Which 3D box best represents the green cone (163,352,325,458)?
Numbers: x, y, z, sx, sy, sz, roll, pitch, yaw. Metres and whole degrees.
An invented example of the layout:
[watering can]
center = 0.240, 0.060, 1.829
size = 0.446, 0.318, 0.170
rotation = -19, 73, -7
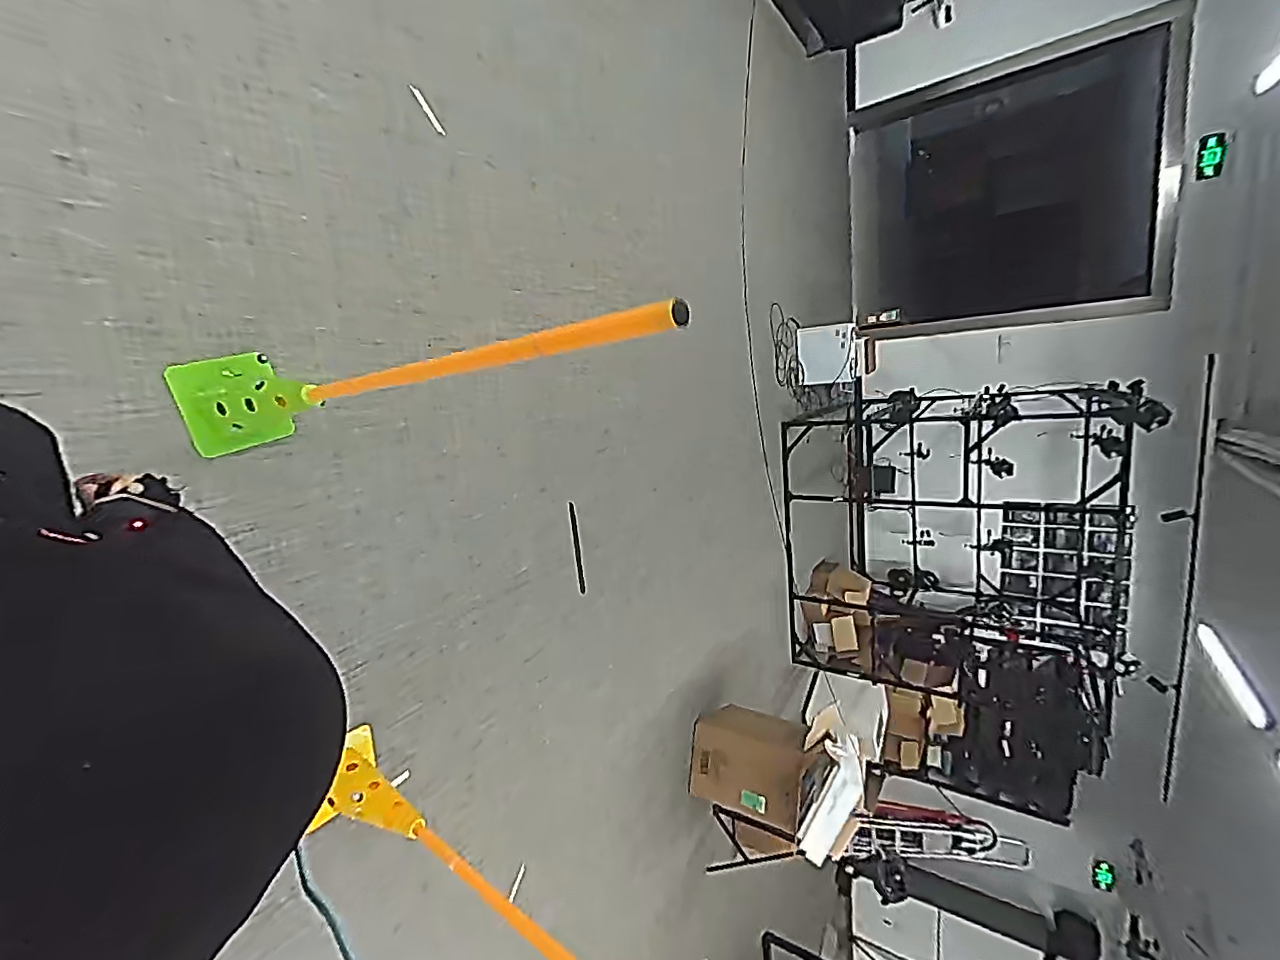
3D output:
[green cone]
center = -0.757, -0.160, 1.095
size = 0.200, 0.368, 0.202
rotation = -35, 122, -50
